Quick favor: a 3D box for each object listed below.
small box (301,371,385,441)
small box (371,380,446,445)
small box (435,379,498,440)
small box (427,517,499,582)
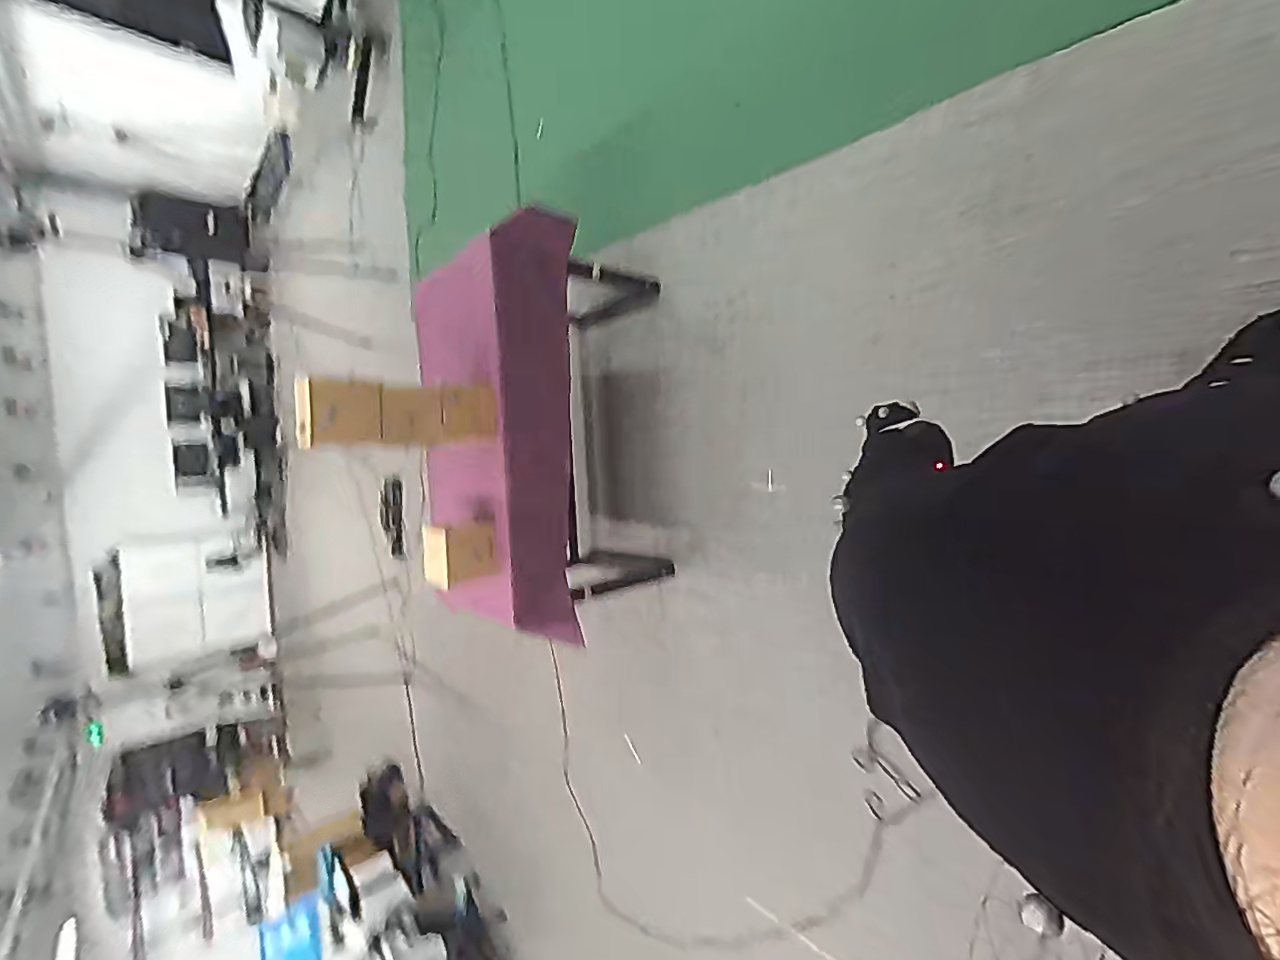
[{"bbox_3d":[-0.790,-0.194,1.442,0.168,0.176,0.179,8,98,47],"label":"small box"},{"bbox_3d":[-0.669,-0.195,1.554,0.168,0.176,0.179,8,100,47],"label":"small box"},{"bbox_3d":[-0.548,-0.212,1.664,0.168,0.176,0.179,2,95,48],"label":"small box"},{"bbox_3d":[-0.556,0.213,1.710,0.179,0.176,0.168,4,96,48],"label":"small box"}]
